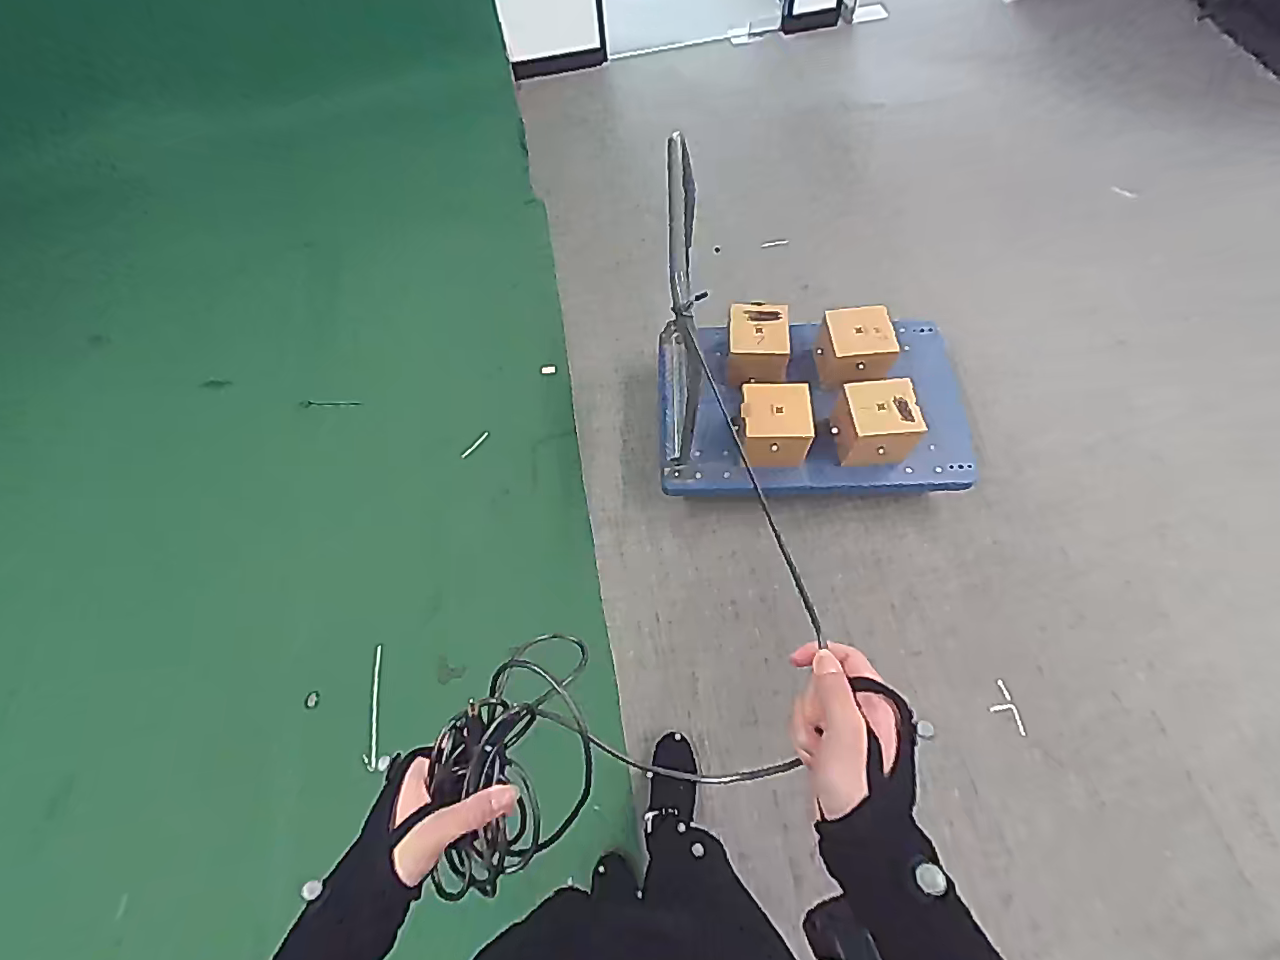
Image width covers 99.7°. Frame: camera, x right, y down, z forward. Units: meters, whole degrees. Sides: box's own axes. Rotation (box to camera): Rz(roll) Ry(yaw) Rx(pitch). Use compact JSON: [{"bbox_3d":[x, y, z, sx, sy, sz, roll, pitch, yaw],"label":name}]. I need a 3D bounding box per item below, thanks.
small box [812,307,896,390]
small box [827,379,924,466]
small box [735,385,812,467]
[{"bbox_3d":[0.609,-0.376,1.567,0.179,0.176,0.168,-5,65,2],"label":"small box"},{"bbox_3d":[0.626,-0.150,1.458,0.179,0.176,0.168,-5,63,3],"label":"small box"},{"bbox_3d":[0.357,-0.143,1.475,0.179,0.176,0.168,-1,64,5],"label":"small box"}]
